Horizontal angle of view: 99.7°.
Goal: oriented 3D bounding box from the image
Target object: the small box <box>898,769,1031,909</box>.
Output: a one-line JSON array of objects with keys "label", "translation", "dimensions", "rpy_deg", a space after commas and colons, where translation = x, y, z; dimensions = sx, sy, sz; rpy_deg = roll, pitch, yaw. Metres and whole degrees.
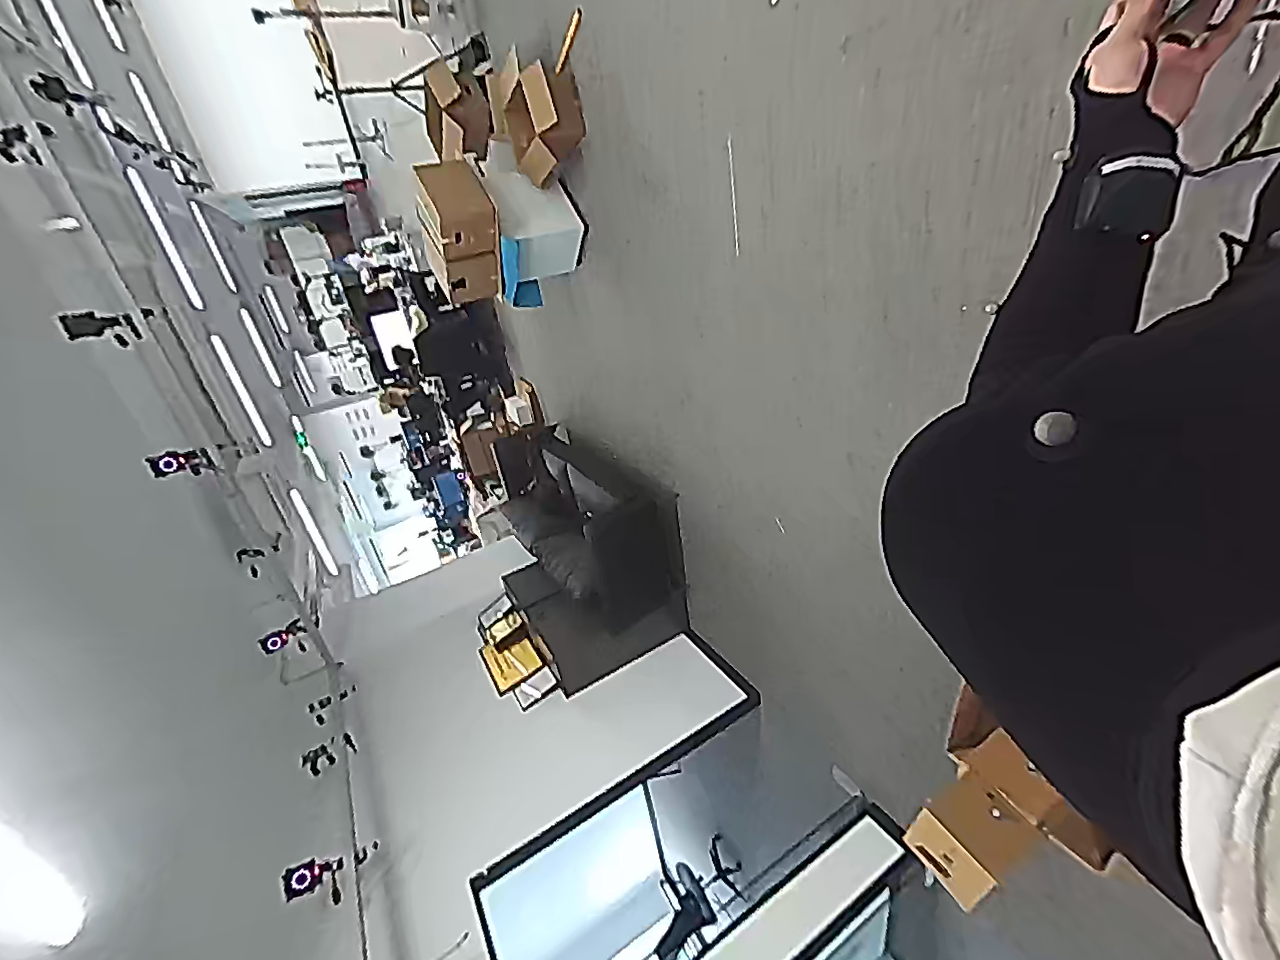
[{"label": "small box", "translation": [0.713, 0.785, 1.194], "dimensions": [0.168, 0.176, 0.179], "rpy_deg": [44, 144, 44]}]

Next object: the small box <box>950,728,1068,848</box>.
[{"label": "small box", "translation": [0.851, 0.727, 1.262], "dimensions": [0.168, 0.176, 0.179], "rpy_deg": [36, 139, 52]}]
